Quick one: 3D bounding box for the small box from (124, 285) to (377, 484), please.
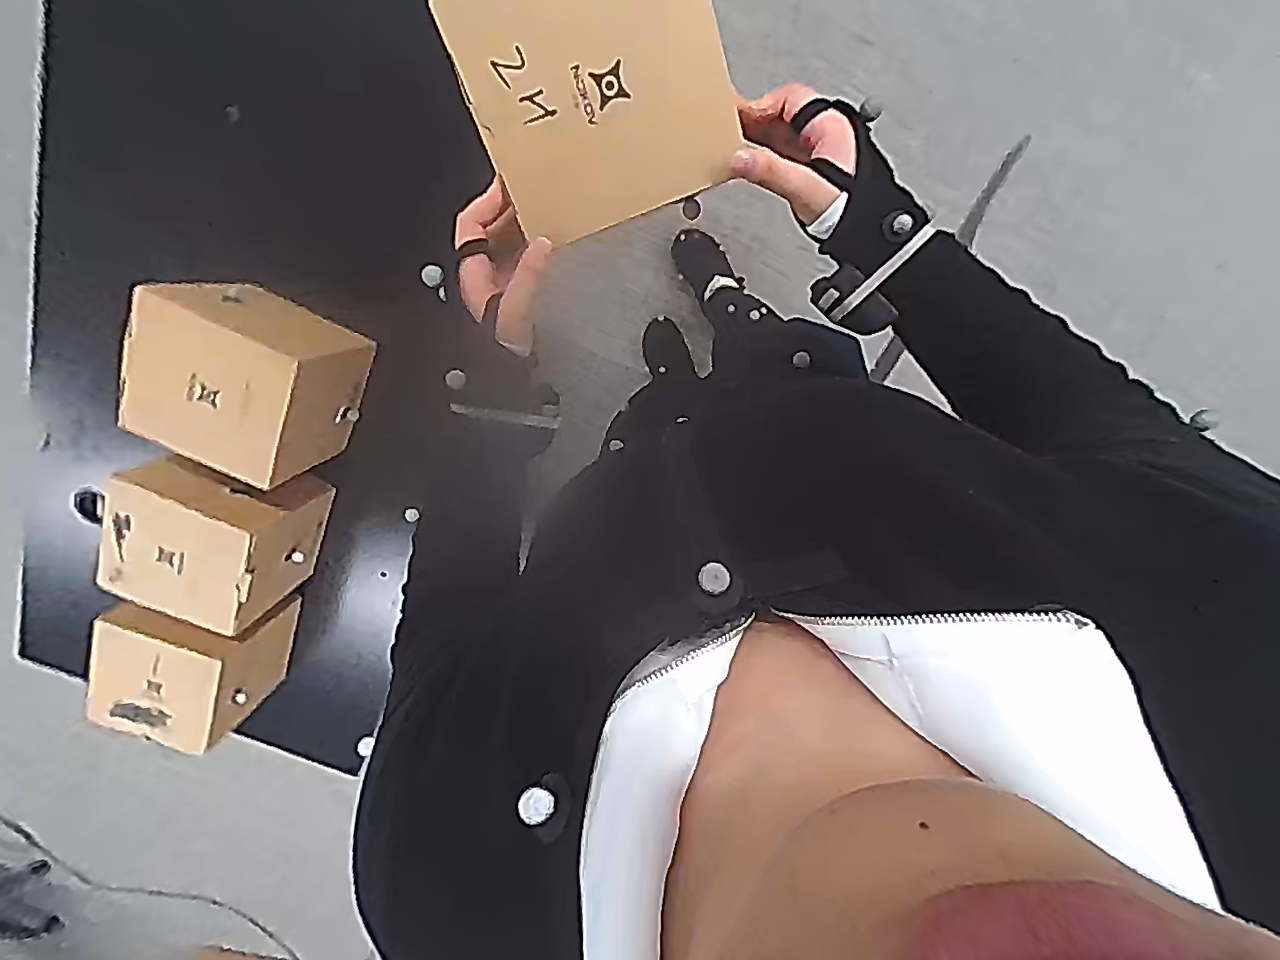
[{"bbox_3d":[-0.464,-0.124,0.665,0.179,0.176,0.168,24,110,-6],"label":"small box"}]

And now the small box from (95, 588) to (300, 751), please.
[{"bbox_3d":[-0.644,0.253,0.805,0.168,0.176,0.179,21,108,-5],"label":"small box"}]

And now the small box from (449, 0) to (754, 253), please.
[{"bbox_3d":[-0.022,-0.305,0.447,0.179,0.176,0.168,-16,115,8],"label":"small box"}]

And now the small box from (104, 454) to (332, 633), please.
[{"bbox_3d":[-0.558,0.068,0.736,0.179,0.176,0.168,24,109,-6],"label":"small box"}]
